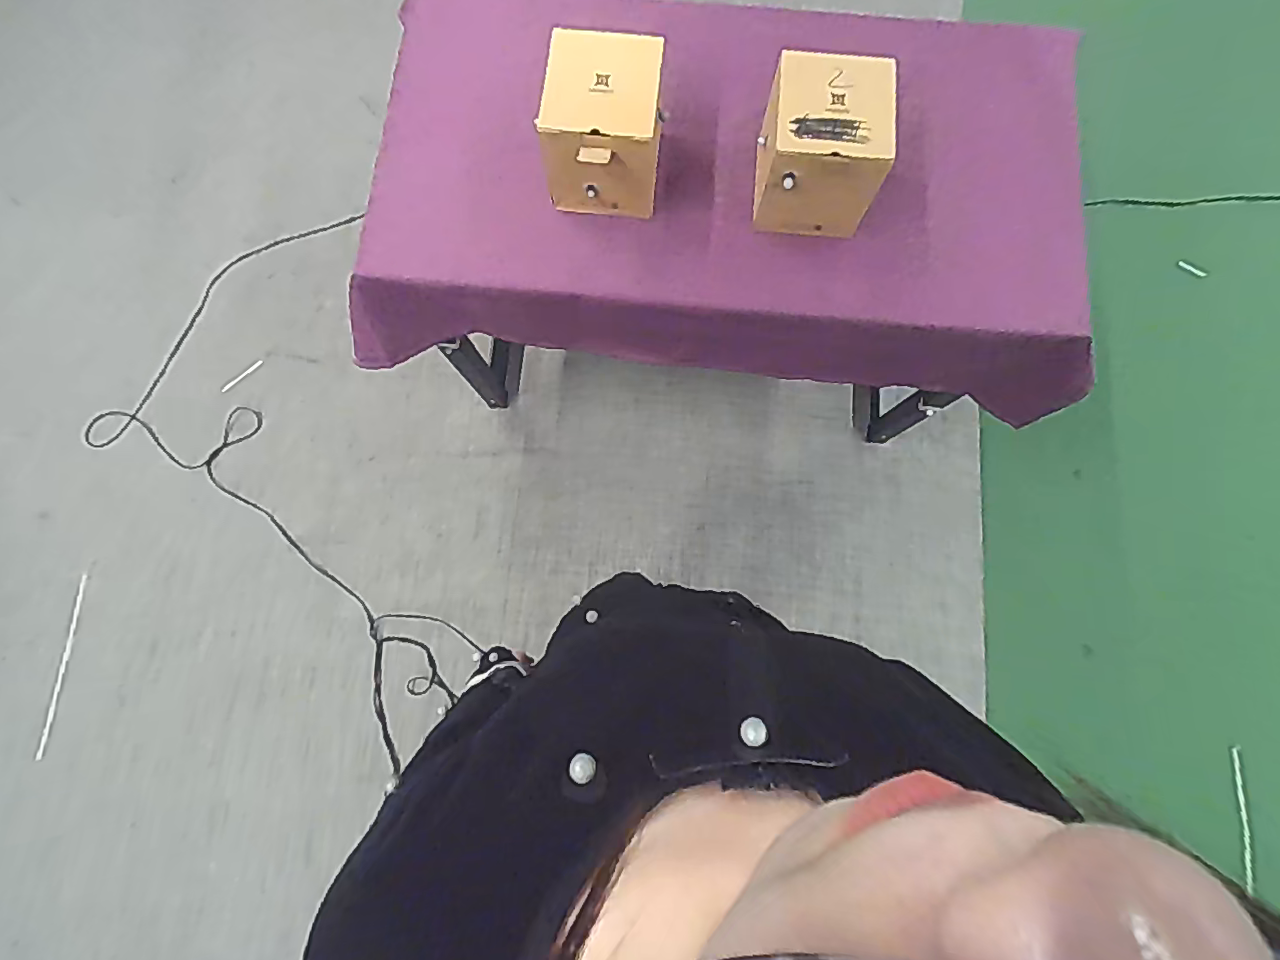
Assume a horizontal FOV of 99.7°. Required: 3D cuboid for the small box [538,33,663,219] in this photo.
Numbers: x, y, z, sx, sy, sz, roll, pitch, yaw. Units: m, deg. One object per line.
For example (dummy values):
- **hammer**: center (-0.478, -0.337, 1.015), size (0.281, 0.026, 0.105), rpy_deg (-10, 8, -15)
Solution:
- **small box**: center (-0.057, -0.556, 0.864), size (0.168, 0.176, 0.179), rpy_deg (6, 80, 1)
